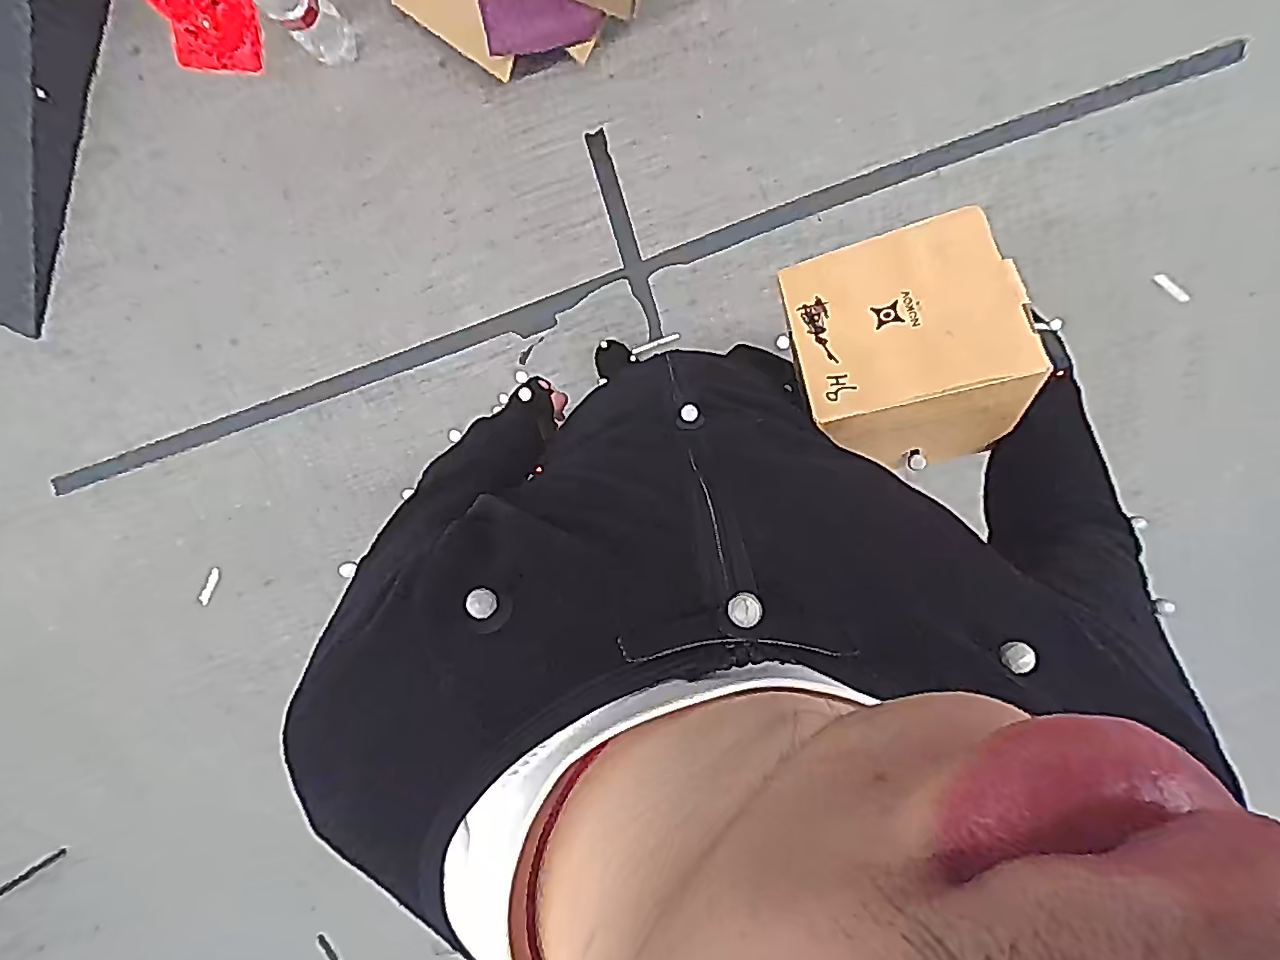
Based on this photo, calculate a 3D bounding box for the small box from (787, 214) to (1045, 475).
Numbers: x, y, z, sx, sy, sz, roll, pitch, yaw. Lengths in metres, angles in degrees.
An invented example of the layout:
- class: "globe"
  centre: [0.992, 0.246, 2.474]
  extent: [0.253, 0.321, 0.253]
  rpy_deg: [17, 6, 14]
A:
- class: "small box"
  centre: [0.255, -0.119, 0.543]
  extent: [0.179, 0.176, 0.168]
  rpy_deg: [-12, 67, 16]
